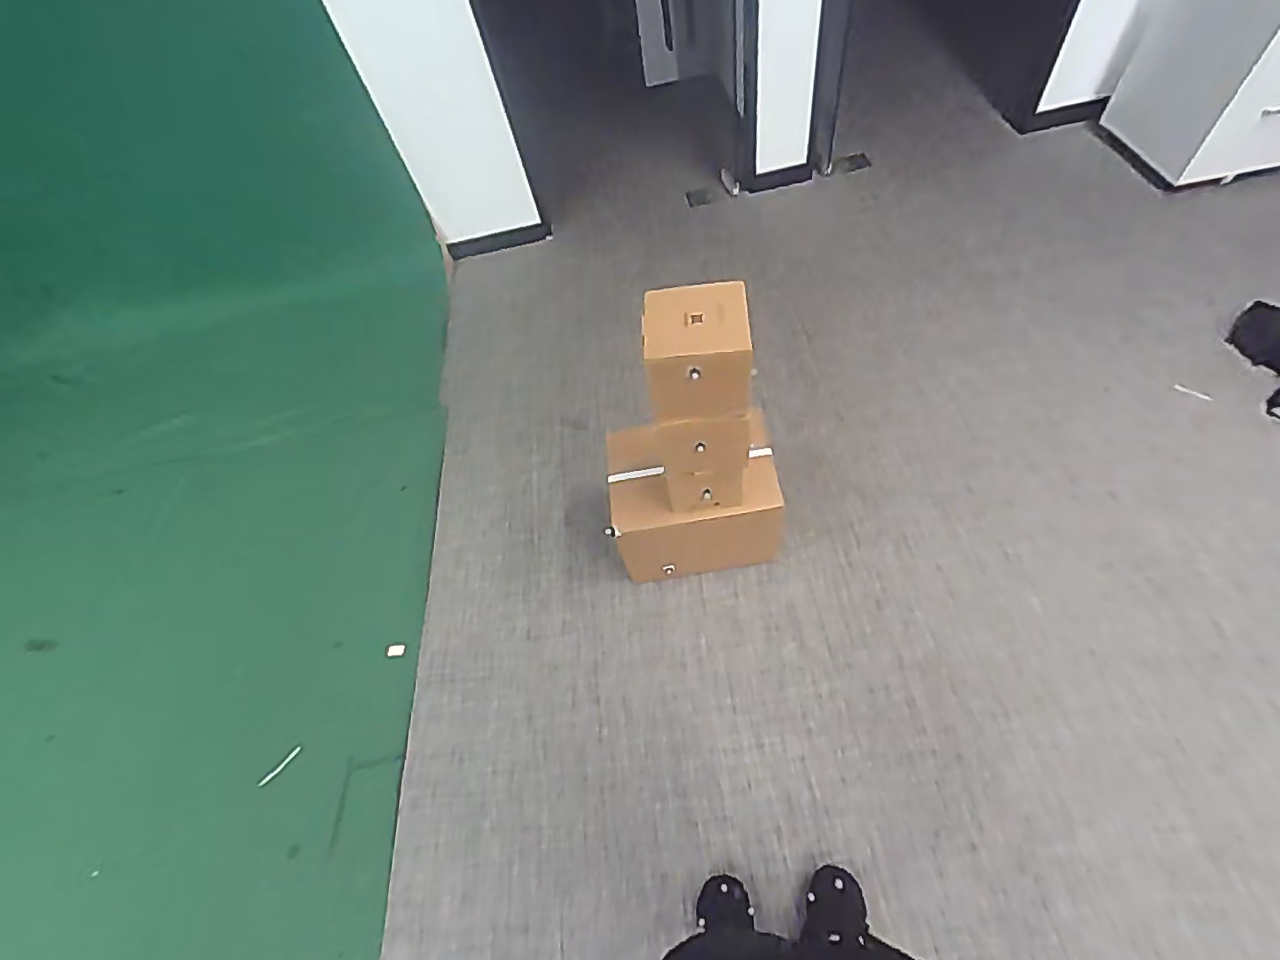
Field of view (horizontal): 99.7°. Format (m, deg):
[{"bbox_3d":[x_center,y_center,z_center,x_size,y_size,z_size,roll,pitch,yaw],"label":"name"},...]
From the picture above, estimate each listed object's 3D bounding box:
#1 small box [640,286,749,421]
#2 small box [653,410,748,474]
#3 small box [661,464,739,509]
[{"bbox_3d":[0.100,-0.218,0.963,0.179,0.176,0.168,-3,59,7],"label":"small box"},{"bbox_3d":[0.120,-0.126,1.094,0.179,0.176,0.168,-5,57,7],"label":"small box"},{"bbox_3d":[0.134,-0.046,1.238,0.168,0.176,0.179,-7,58,5],"label":"small box"}]
